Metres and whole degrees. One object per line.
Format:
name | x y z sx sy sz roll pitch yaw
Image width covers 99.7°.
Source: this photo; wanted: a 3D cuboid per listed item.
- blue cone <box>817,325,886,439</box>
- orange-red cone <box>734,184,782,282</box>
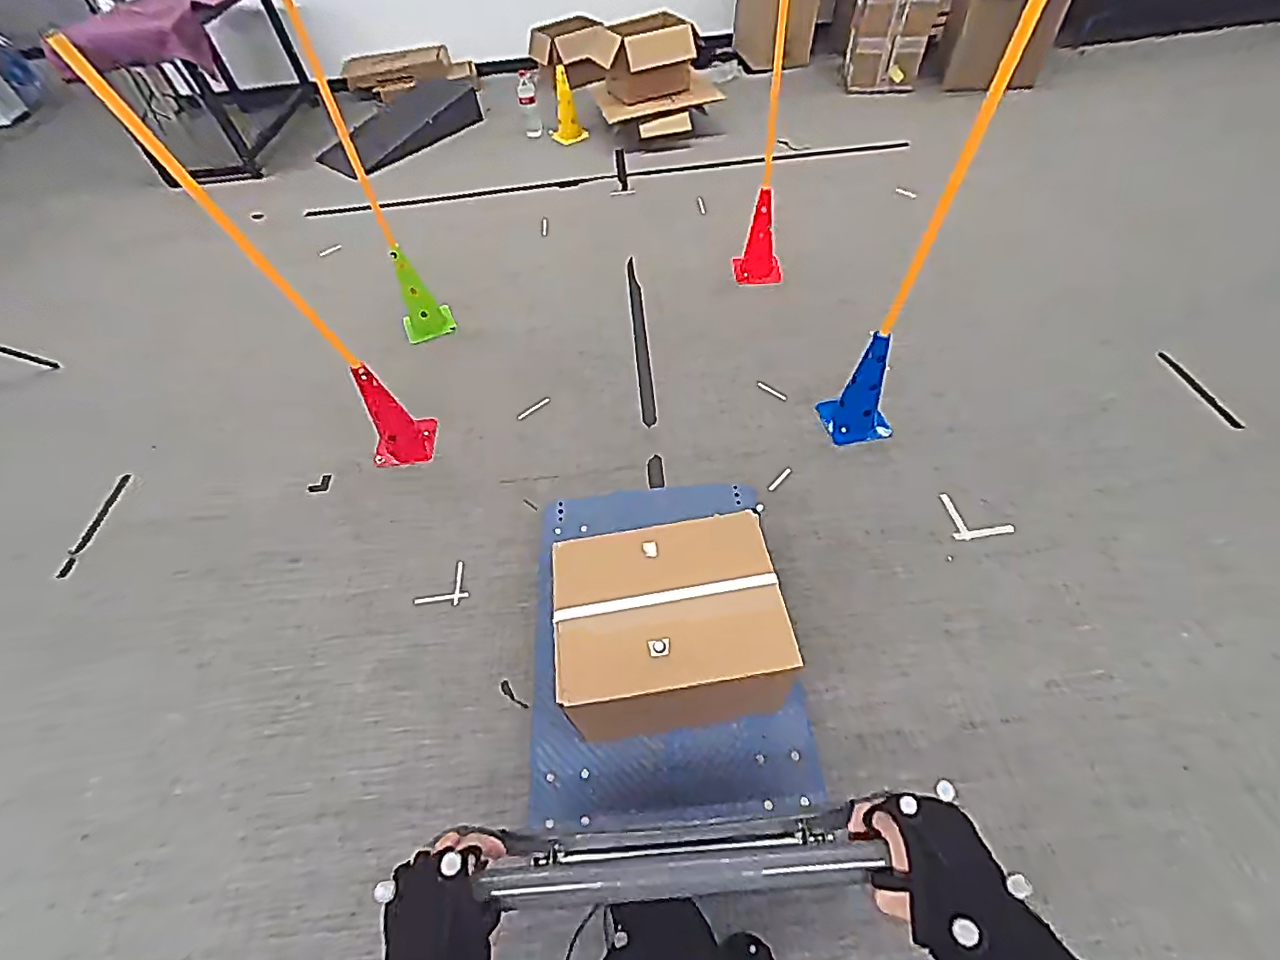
blue cone | 0.706 -0.314 1.698 0.193 0.380 0.192 -9 52 -3
orange-red cone | 0.502 -1.028 2.226 0.199 0.360 0.198 0 54 3
